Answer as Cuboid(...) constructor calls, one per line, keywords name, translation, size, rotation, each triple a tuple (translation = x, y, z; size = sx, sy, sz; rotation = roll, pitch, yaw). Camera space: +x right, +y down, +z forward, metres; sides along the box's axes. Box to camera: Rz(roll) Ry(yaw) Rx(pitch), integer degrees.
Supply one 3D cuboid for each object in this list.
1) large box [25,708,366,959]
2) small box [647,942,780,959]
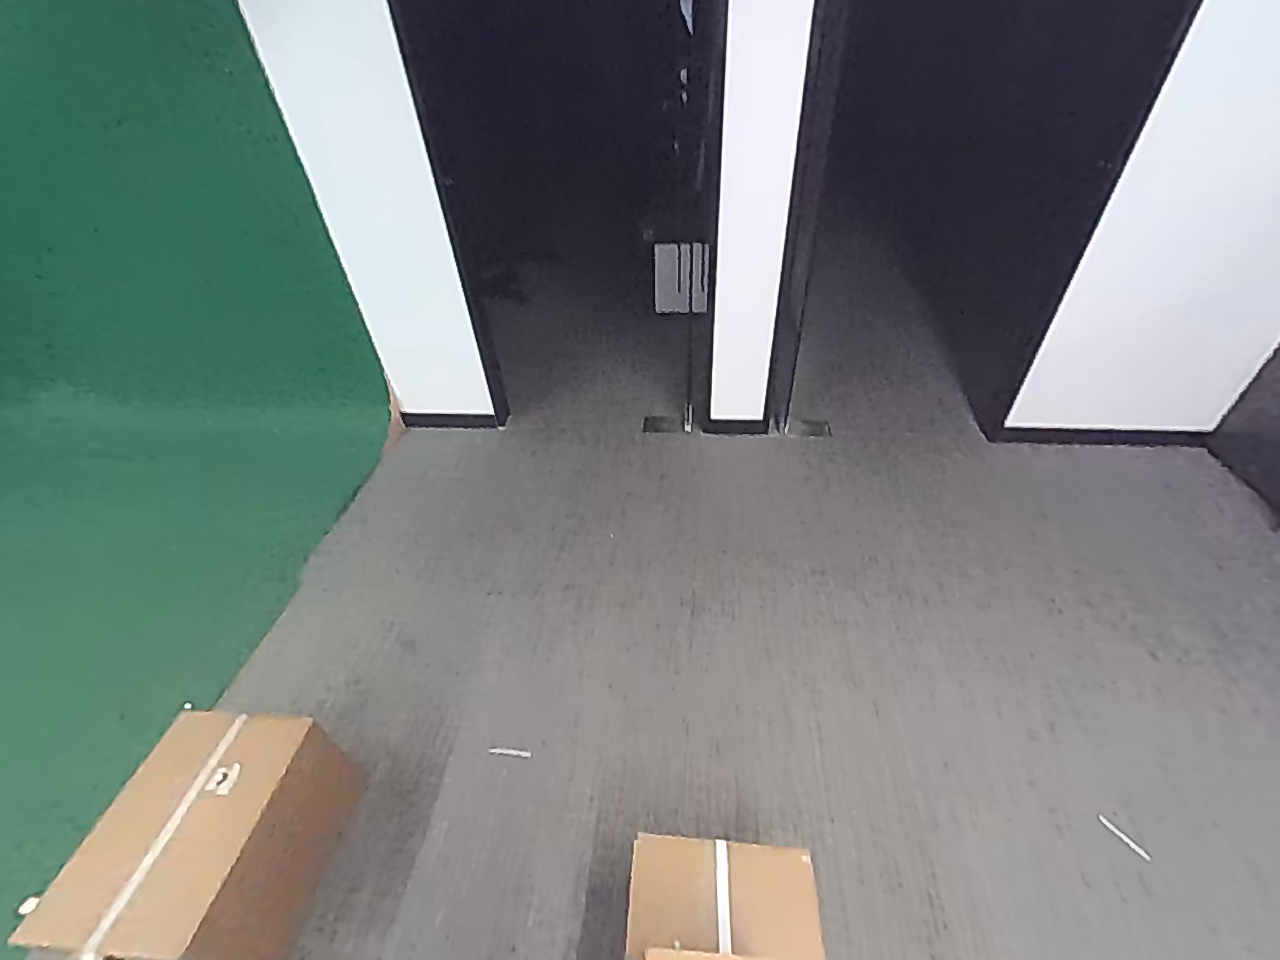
Cuboid(name="large box", translation=(-0.857, 0.749, 1.128), size=(0.320, 0.320, 0.408), rotation=(1, 40, 6))
Cuboid(name="small box", translation=(0.096, 0.734, 0.709), size=(0.179, 0.176, 0.168), rotation=(-1, 41, 7))
